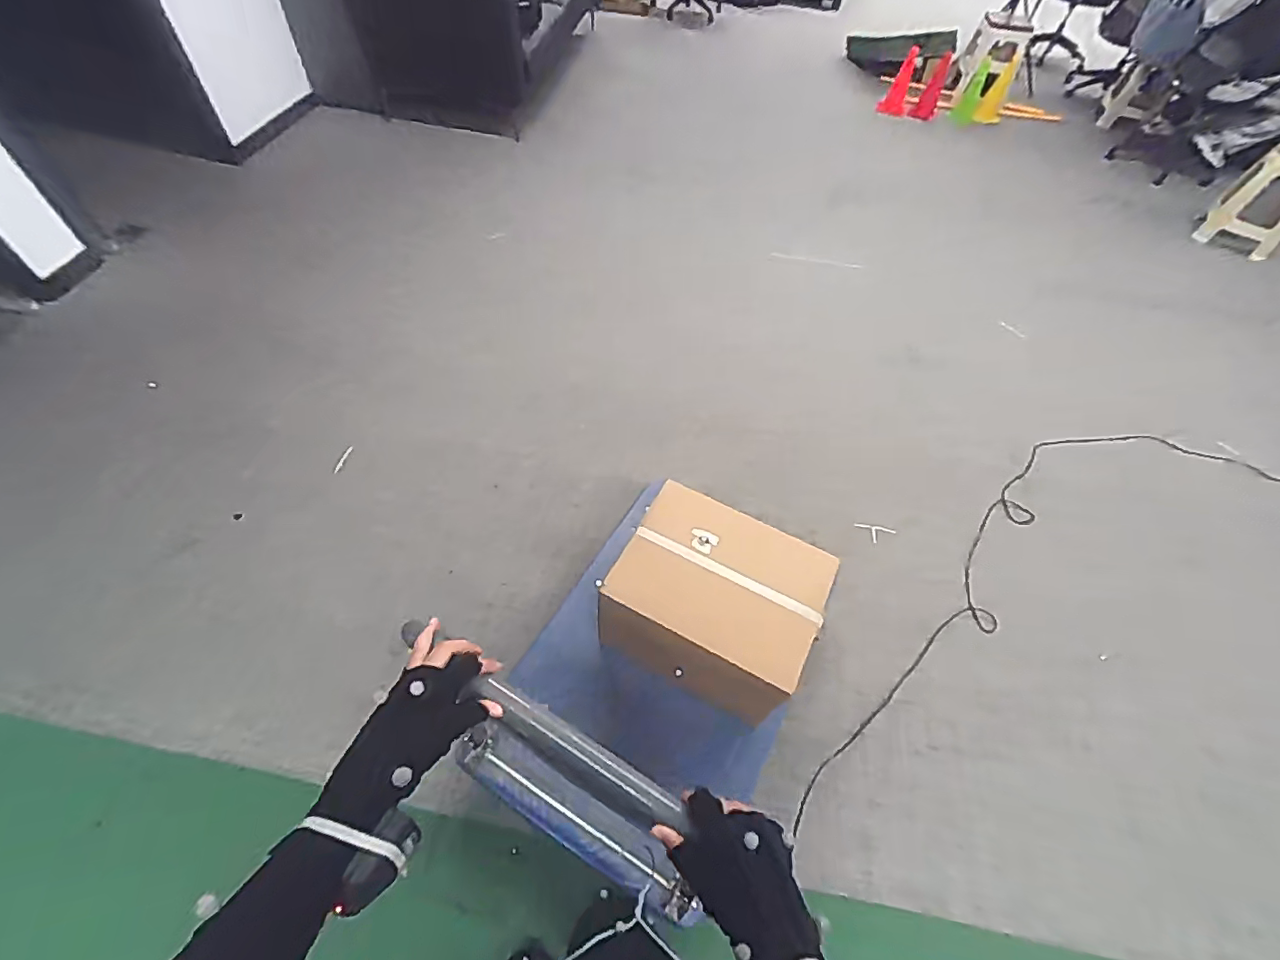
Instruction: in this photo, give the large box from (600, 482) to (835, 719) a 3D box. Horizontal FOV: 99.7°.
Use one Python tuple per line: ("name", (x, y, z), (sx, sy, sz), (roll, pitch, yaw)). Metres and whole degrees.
("large box", (0.161, 0.273, 1.214), (0.408, 0.320, 0.320), (25, 56, 14))
